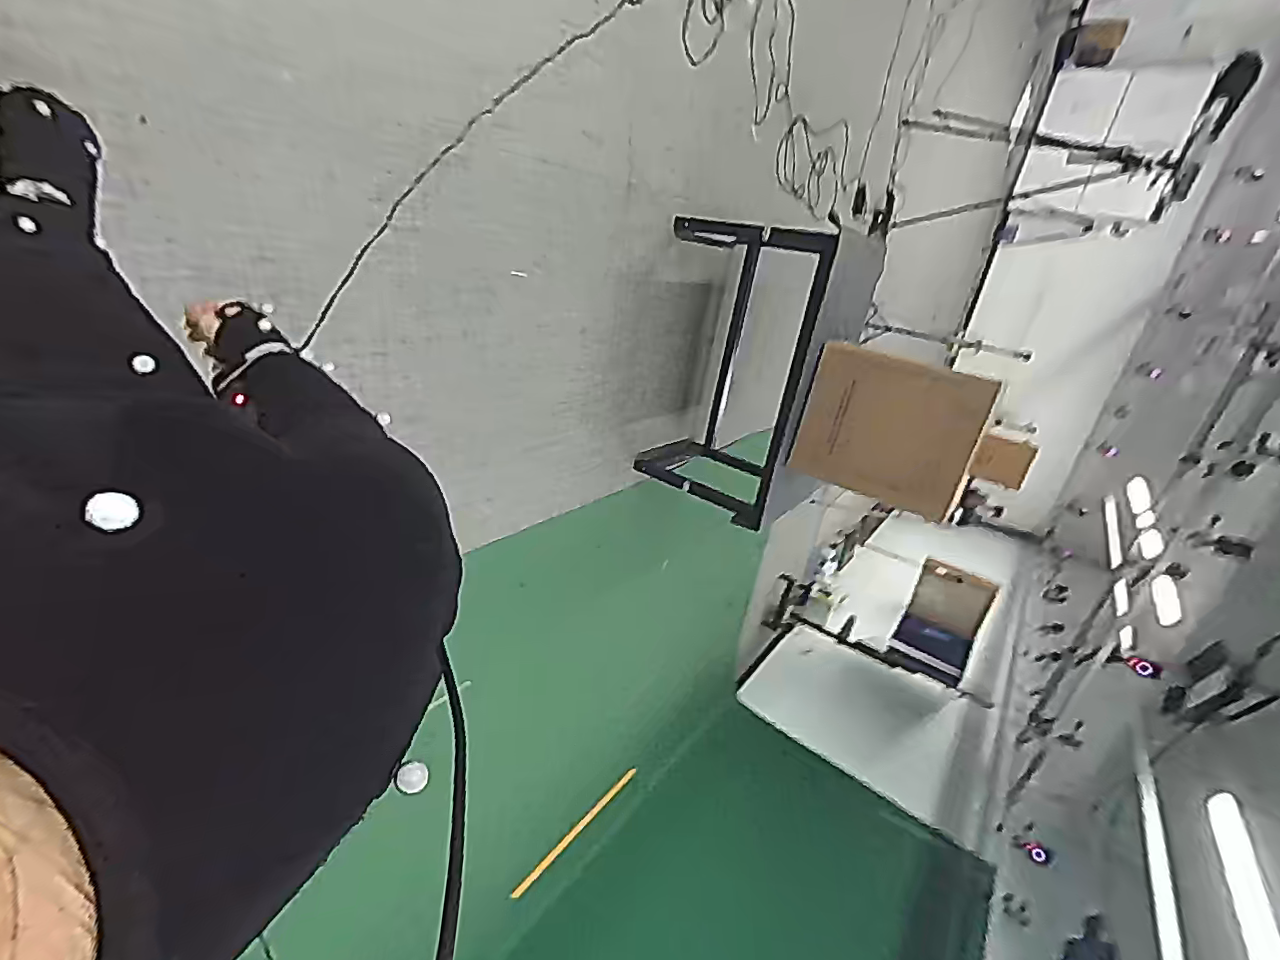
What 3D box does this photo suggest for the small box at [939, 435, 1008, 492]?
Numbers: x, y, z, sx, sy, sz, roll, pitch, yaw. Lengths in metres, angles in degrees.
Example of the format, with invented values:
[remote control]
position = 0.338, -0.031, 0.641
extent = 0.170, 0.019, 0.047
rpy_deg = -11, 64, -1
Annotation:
[small box]
position = 1.224, -0.063, 1.989
extent = 0.179, 0.176, 0.168
rpy_deg = -3, 112, -55
